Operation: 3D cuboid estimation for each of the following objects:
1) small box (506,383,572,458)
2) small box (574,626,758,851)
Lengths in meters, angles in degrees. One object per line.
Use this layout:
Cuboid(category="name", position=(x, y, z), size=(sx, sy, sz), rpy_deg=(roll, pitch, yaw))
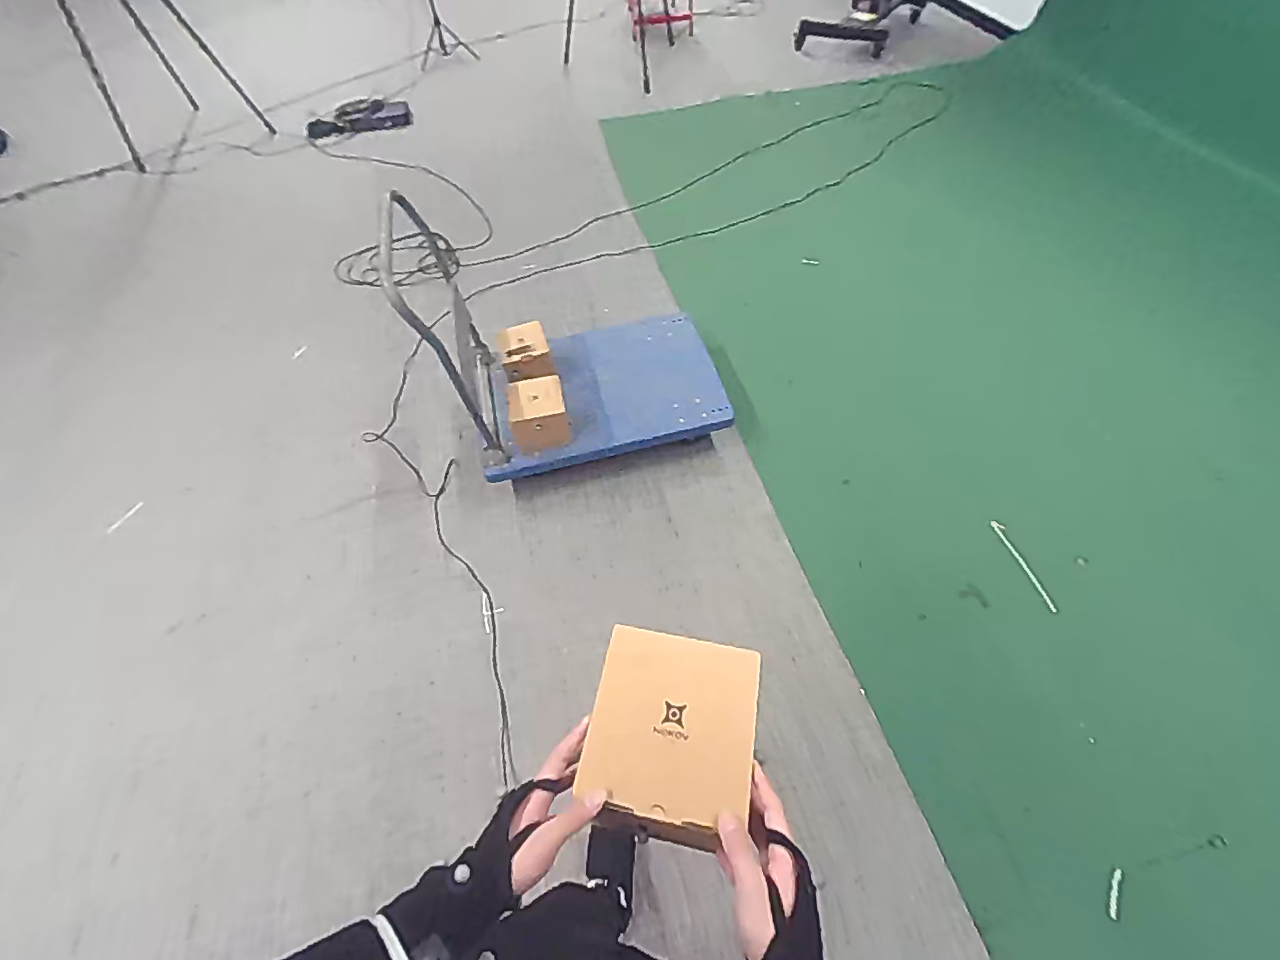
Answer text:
Cuboid(category="small box", position=(-0.327, -0.189, 1.765), size=(0.179, 0.176, 0.168), rpy_deg=(-11, 56, -5))
Cuboid(category="small box", position=(0.032, 0.293, 0.610), size=(0.168, 0.176, 0.179), rpy_deg=(9, 53, 7))
